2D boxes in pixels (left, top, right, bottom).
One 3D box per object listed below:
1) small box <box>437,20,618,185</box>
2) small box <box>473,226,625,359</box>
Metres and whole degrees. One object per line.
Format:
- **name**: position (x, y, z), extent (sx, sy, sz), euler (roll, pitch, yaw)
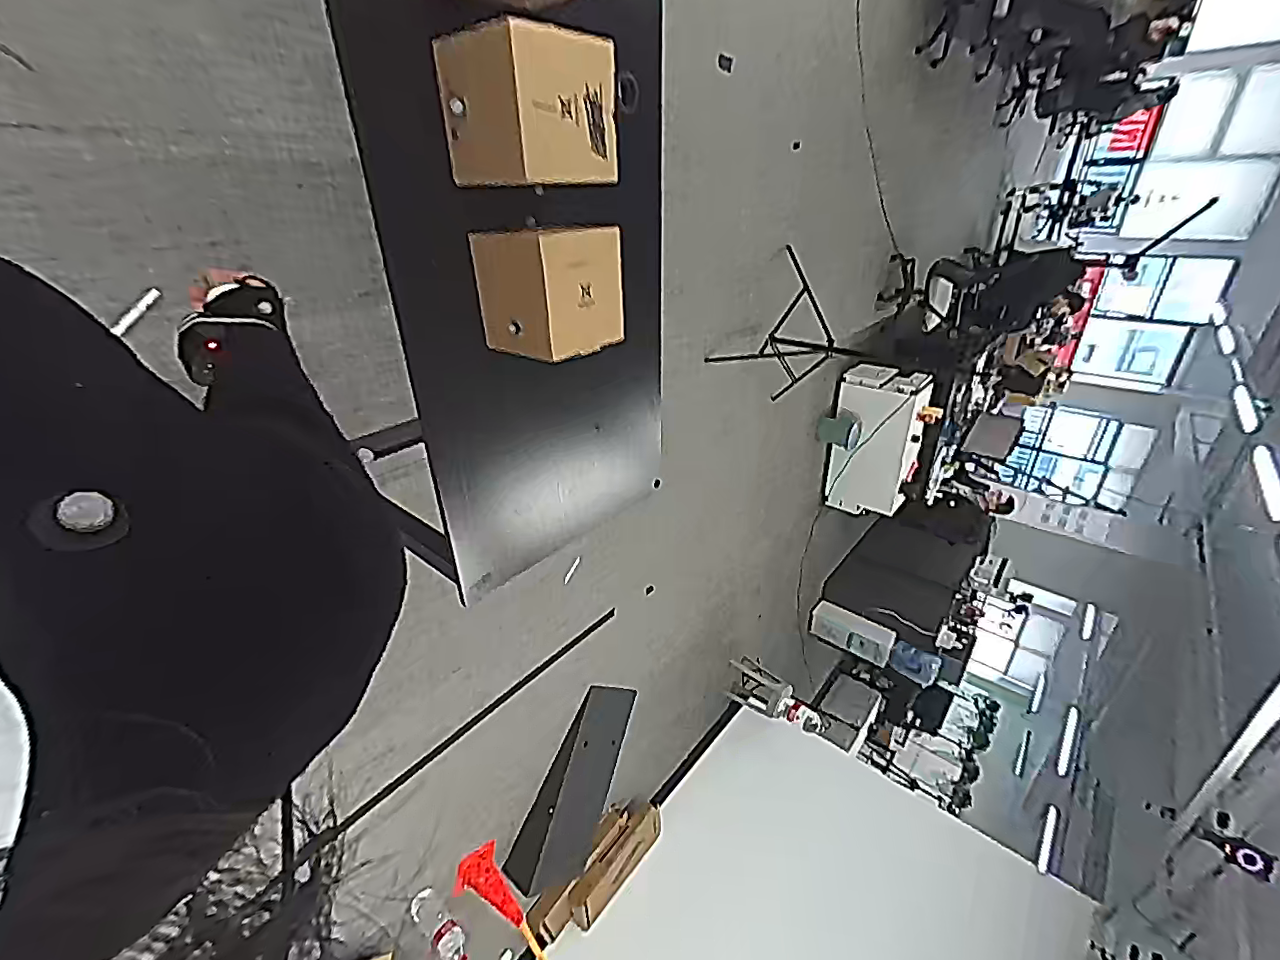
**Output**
- **small box**: position (-0.151, -0.511, 0.757), extent (0.179, 0.176, 0.168), euler (-29, 129, -41)
- **small box**: position (-0.143, -0.310, 0.873), extent (0.168, 0.176, 0.179), euler (-31, 129, -42)
